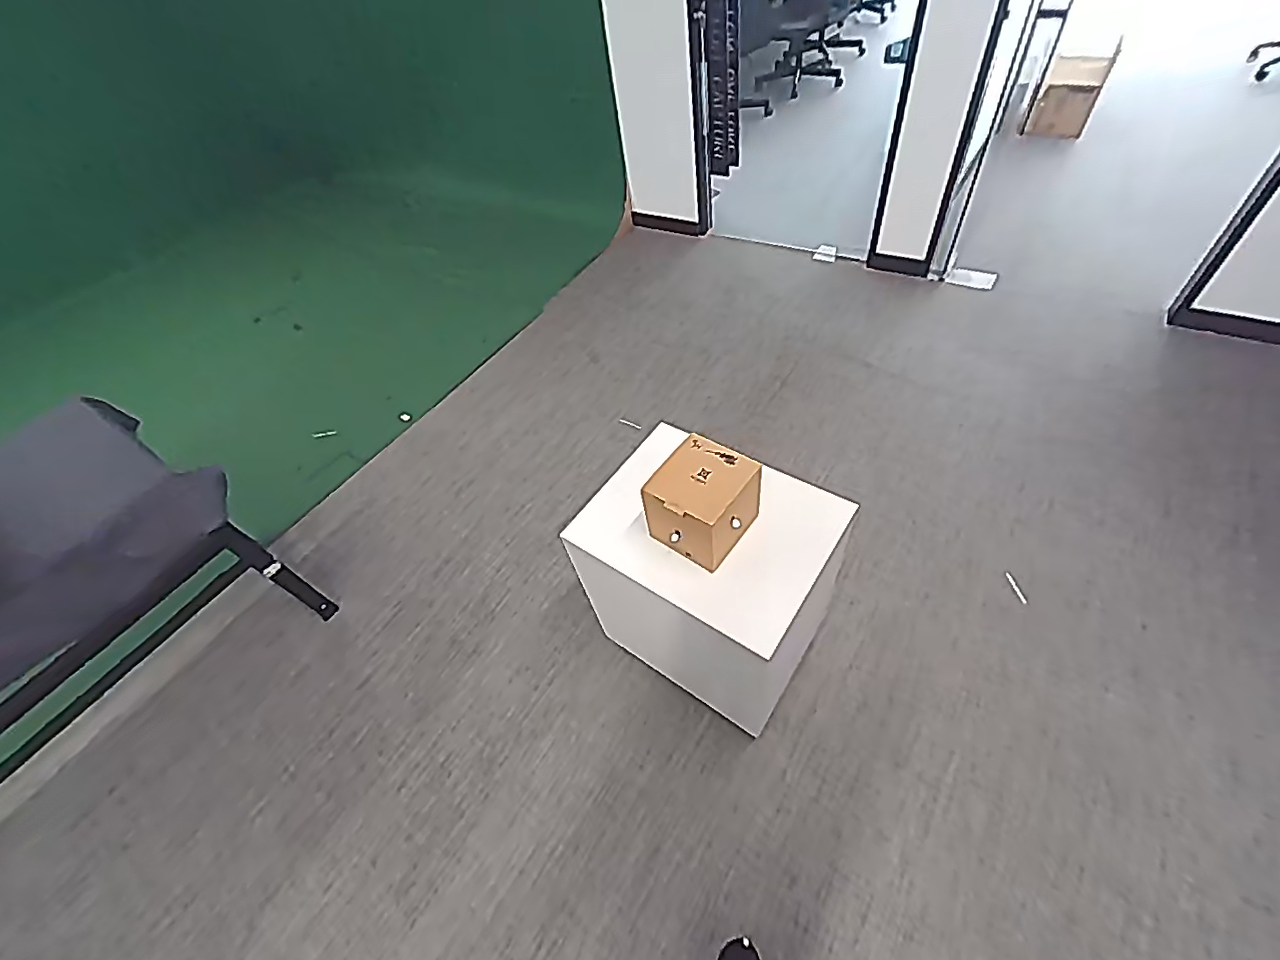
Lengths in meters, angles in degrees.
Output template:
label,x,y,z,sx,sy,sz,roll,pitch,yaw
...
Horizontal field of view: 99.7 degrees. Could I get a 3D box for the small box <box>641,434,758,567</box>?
label,x,y,z,sx,sy,sz,roll,pitch,yaw
small box,0.127,0.045,1.094,0.168,0.176,0.179,26,59,27
